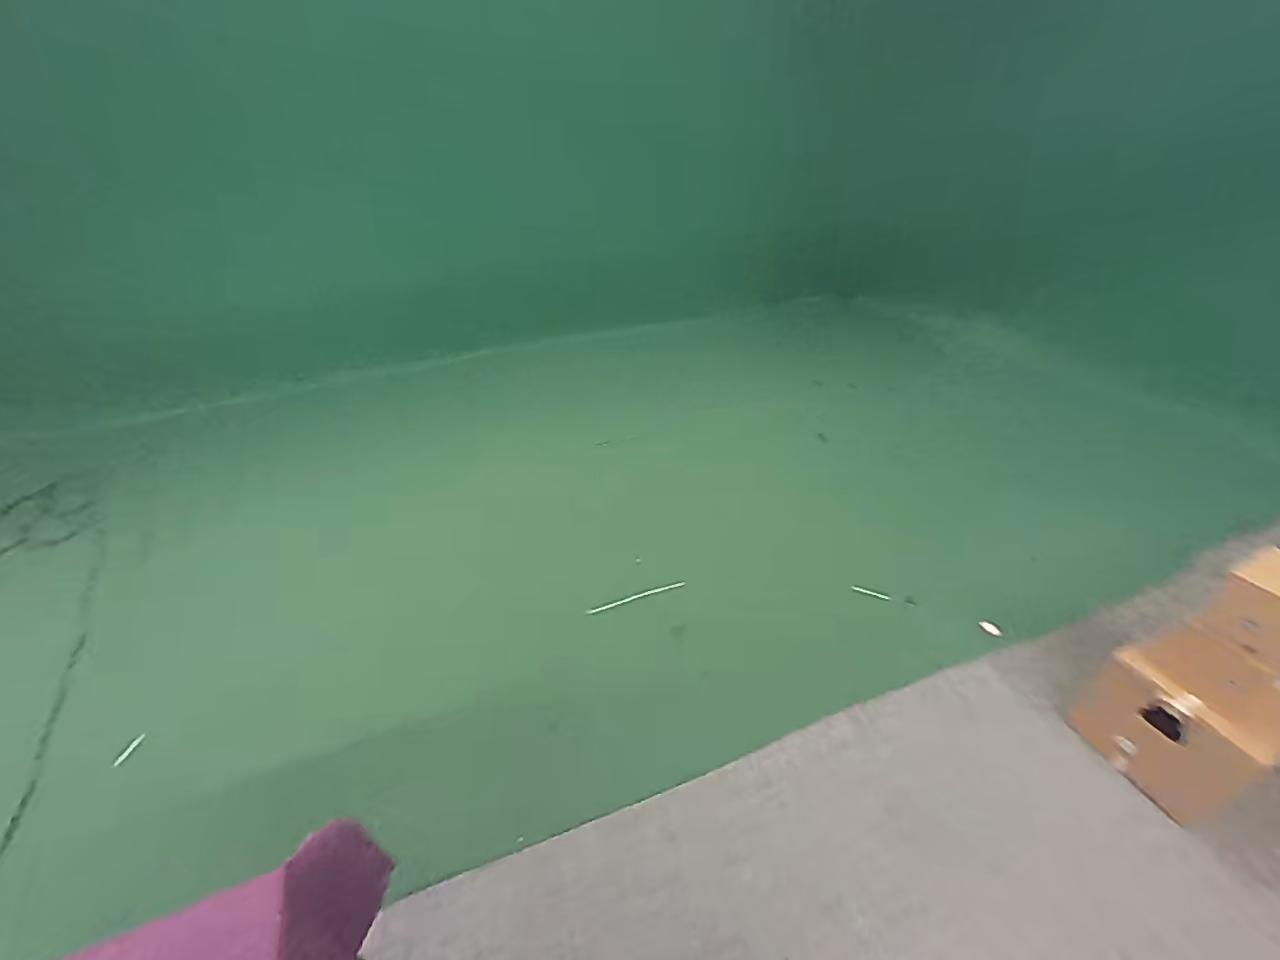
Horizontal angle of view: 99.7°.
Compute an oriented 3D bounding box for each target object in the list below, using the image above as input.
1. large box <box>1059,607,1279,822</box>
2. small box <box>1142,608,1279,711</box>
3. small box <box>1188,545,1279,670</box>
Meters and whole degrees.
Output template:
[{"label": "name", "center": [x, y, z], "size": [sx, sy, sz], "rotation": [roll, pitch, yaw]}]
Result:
[{"label": "large box", "center": [1.427, 0.596, 1.411], "size": [0.408, 0.320, 0.320], "rotation": [-14, 38, -17]}, {"label": "small box", "center": [1.348, 0.408, 1.259], "size": [0.168, 0.176, 0.179], "rotation": [-15, 37, -18]}, {"label": "small box", "center": [1.348, 0.275, 1.163], "size": [0.179, 0.176, 0.168], "rotation": [-18, 40, -21]}]
